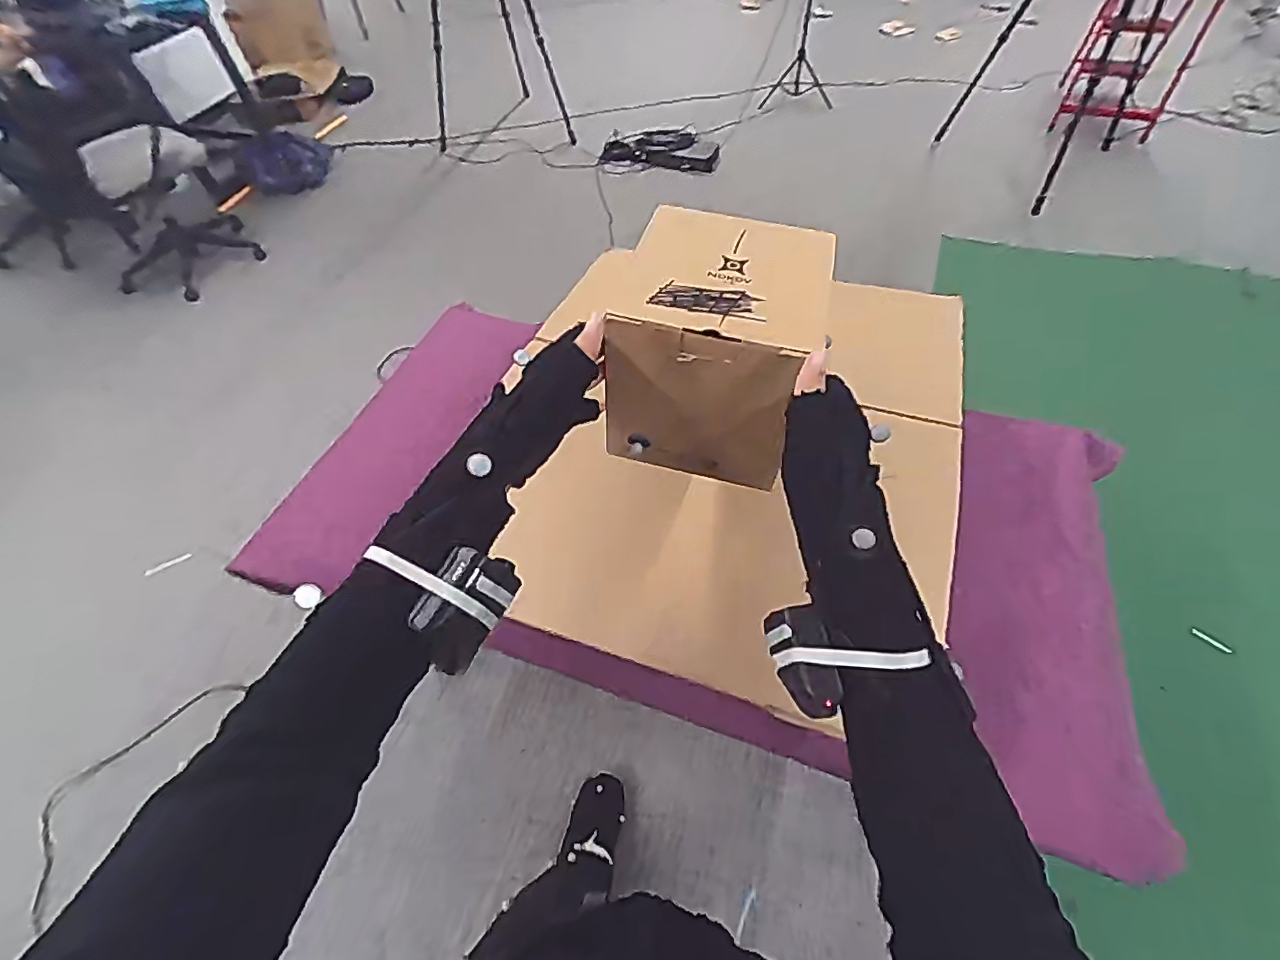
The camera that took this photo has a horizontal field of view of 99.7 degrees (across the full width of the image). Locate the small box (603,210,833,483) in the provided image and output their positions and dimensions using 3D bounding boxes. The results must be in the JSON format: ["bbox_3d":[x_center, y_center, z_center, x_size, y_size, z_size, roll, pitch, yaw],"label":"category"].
[{"bbox_3d":[0.071,-0.122,0.514,0.168,0.176,0.179,14,54,8],"label":"small box"}]
